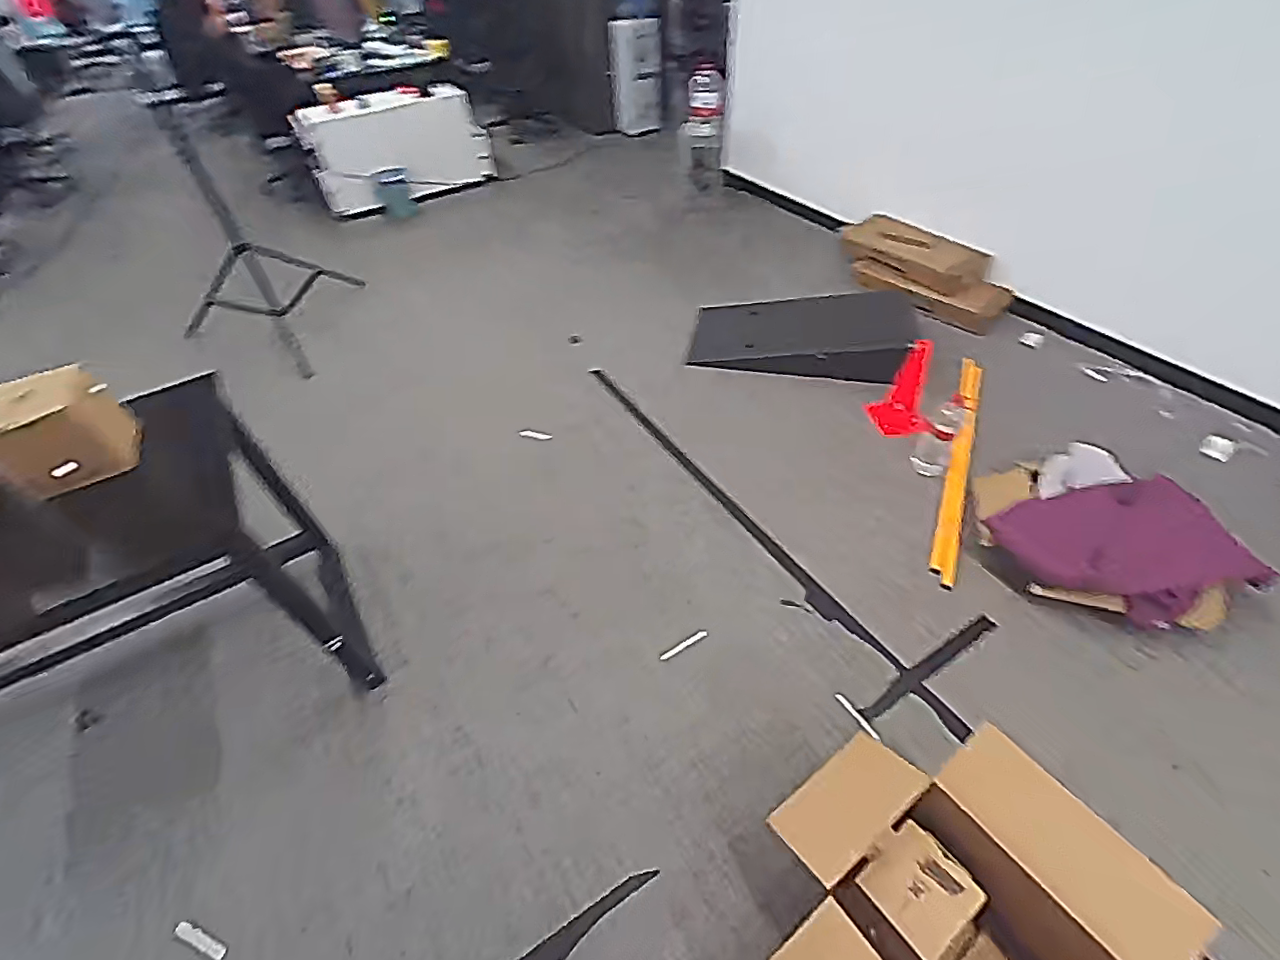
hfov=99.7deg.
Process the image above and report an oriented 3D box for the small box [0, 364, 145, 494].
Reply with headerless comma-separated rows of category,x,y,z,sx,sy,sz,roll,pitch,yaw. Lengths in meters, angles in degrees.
small box,-1.164,-0.104,1.104,0.168,0.176,0.179,-25,51,-18
